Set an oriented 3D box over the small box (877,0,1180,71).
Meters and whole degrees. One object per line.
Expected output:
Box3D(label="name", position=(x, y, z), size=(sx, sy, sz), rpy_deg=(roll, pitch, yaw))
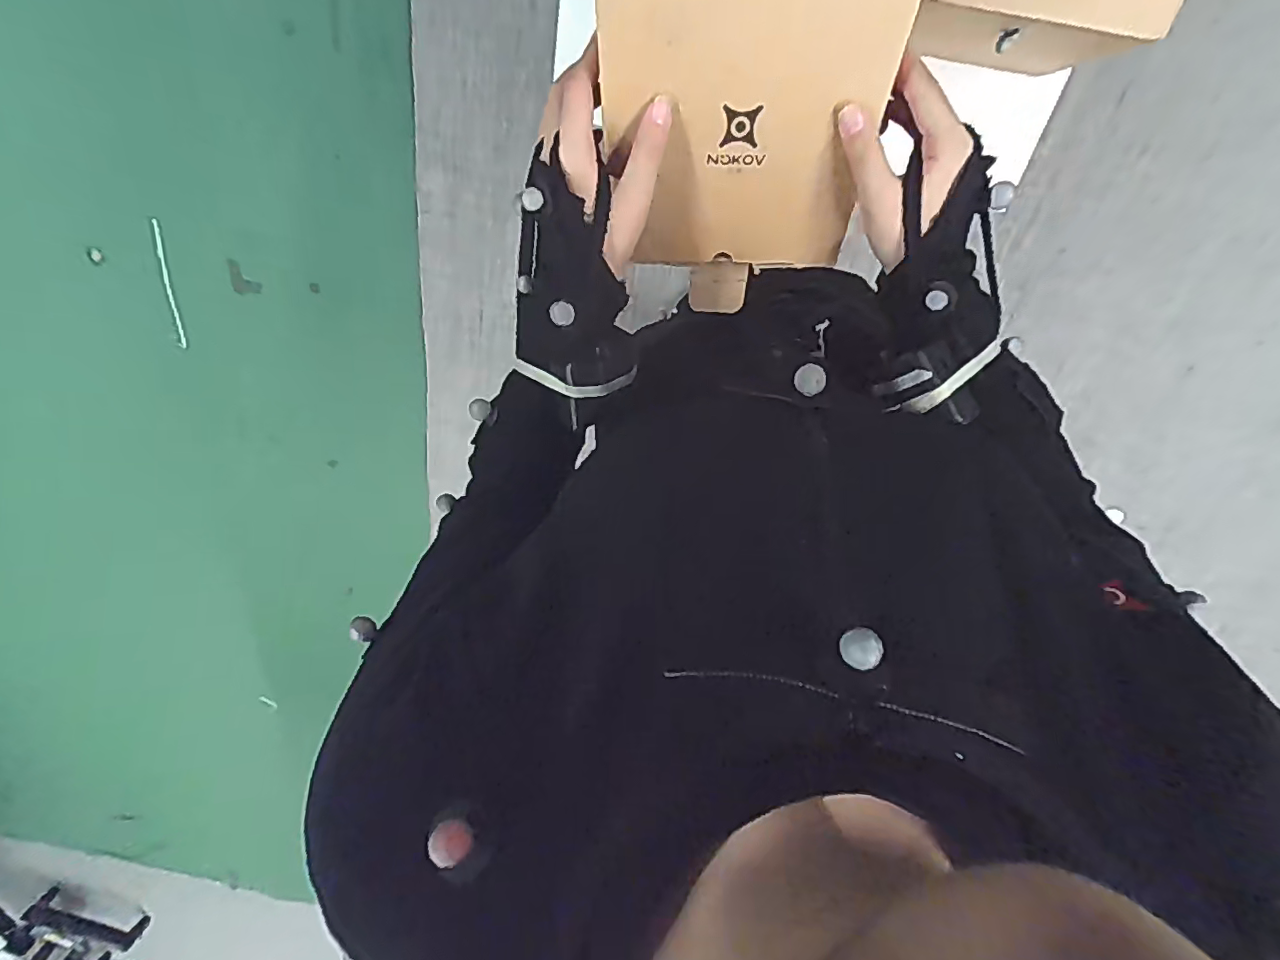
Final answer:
Box3D(label="small box", position=(0.311, -0.440, 0.420), size=(0.179, 0.176, 0.168), rpy_deg=(11, 121, 1))
